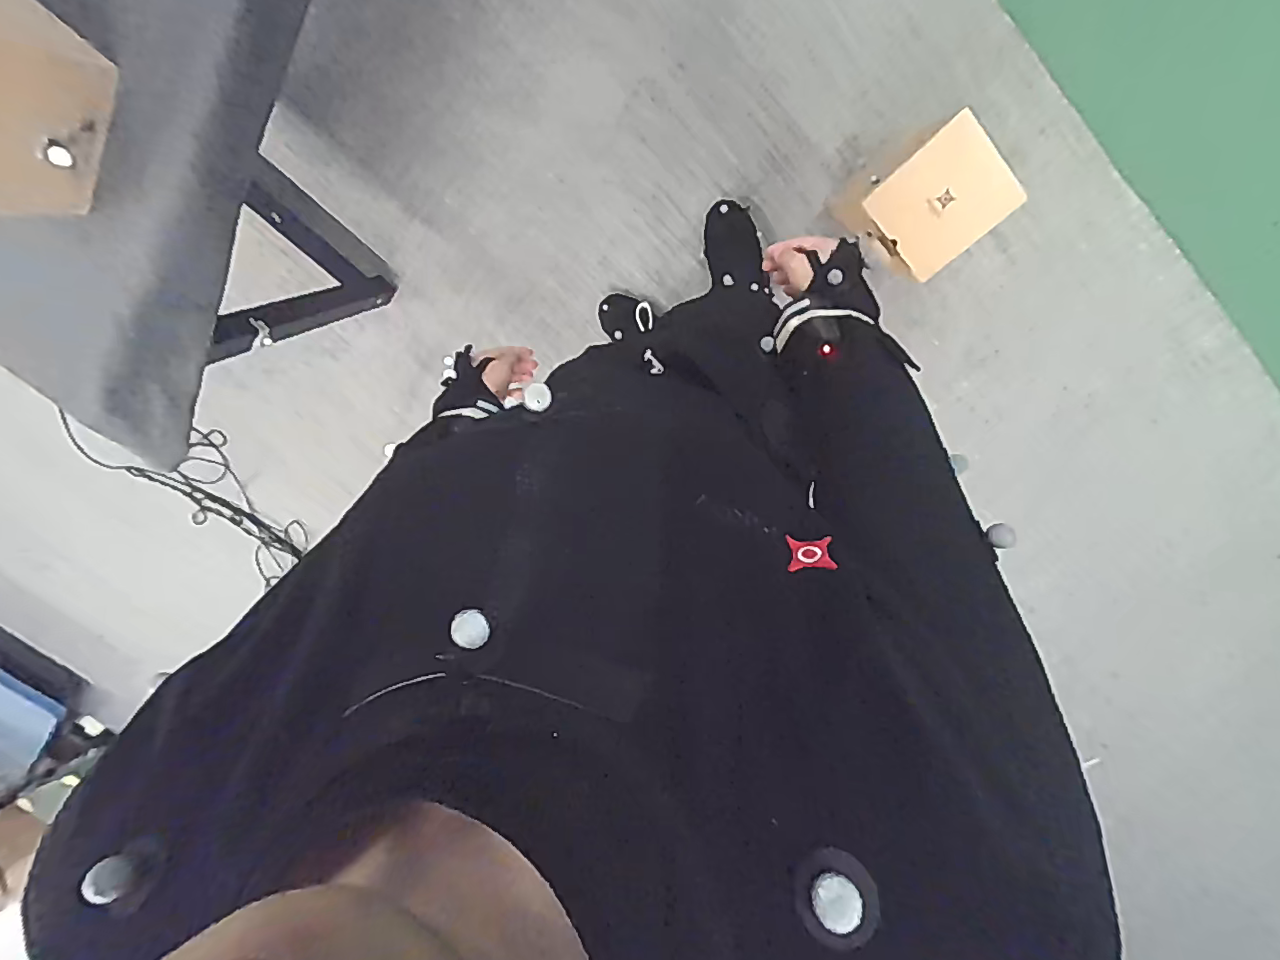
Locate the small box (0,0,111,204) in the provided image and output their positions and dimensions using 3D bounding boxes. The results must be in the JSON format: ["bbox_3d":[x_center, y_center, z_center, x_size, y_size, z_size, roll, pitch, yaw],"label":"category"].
[{"bbox_3d":[-0.622,-0.354,0.453,0.179,0.176,0.168,39,117,-13],"label":"small box"}]

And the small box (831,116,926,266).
[{"bbox_3d":[0.477,-0.534,1.011,0.168,0.176,0.179,42,118,-13],"label":"small box"}]

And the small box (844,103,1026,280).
[{"bbox_3d":[0.457,-0.457,0.868,0.168,0.176,0.179,43,116,-15],"label":"small box"}]
